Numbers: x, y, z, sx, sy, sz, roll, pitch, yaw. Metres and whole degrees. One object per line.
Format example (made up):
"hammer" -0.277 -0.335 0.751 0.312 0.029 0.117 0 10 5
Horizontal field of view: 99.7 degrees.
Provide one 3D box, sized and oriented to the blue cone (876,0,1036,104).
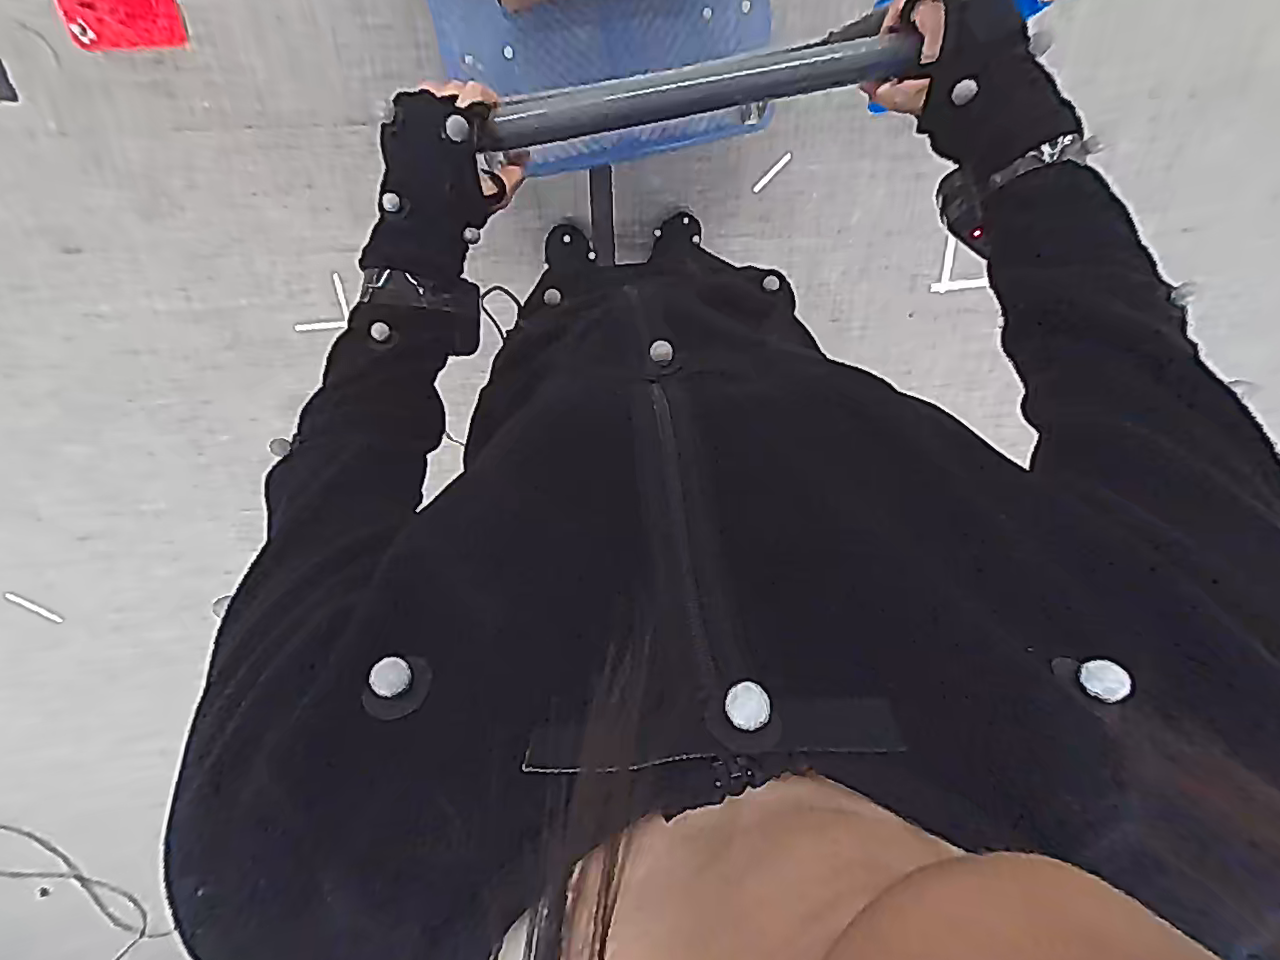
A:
"blue cone" 0.608 -0.842 0.992 0.193 0.380 0.192 -8 115 -4
